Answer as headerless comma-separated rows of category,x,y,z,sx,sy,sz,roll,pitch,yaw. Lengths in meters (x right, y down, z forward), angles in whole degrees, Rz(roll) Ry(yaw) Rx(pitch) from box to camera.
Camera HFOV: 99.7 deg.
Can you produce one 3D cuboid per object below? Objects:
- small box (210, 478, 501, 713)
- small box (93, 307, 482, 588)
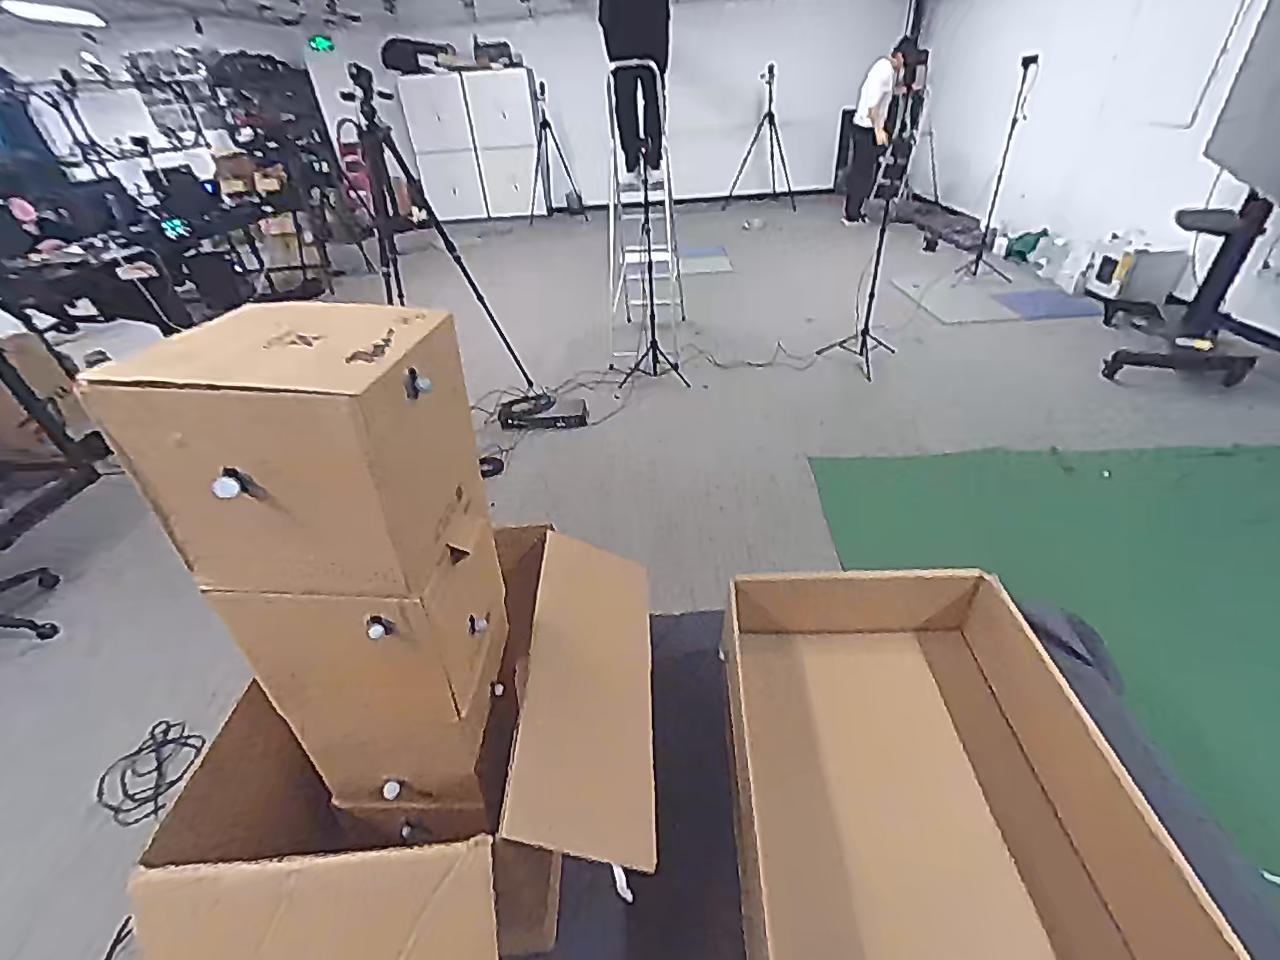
small box,-0.247,0.106,0.526,0.179,0.176,0.168,2,35,0
small box,-0.244,-0.030,0.434,0.179,0.176,0.168,2,35,2
